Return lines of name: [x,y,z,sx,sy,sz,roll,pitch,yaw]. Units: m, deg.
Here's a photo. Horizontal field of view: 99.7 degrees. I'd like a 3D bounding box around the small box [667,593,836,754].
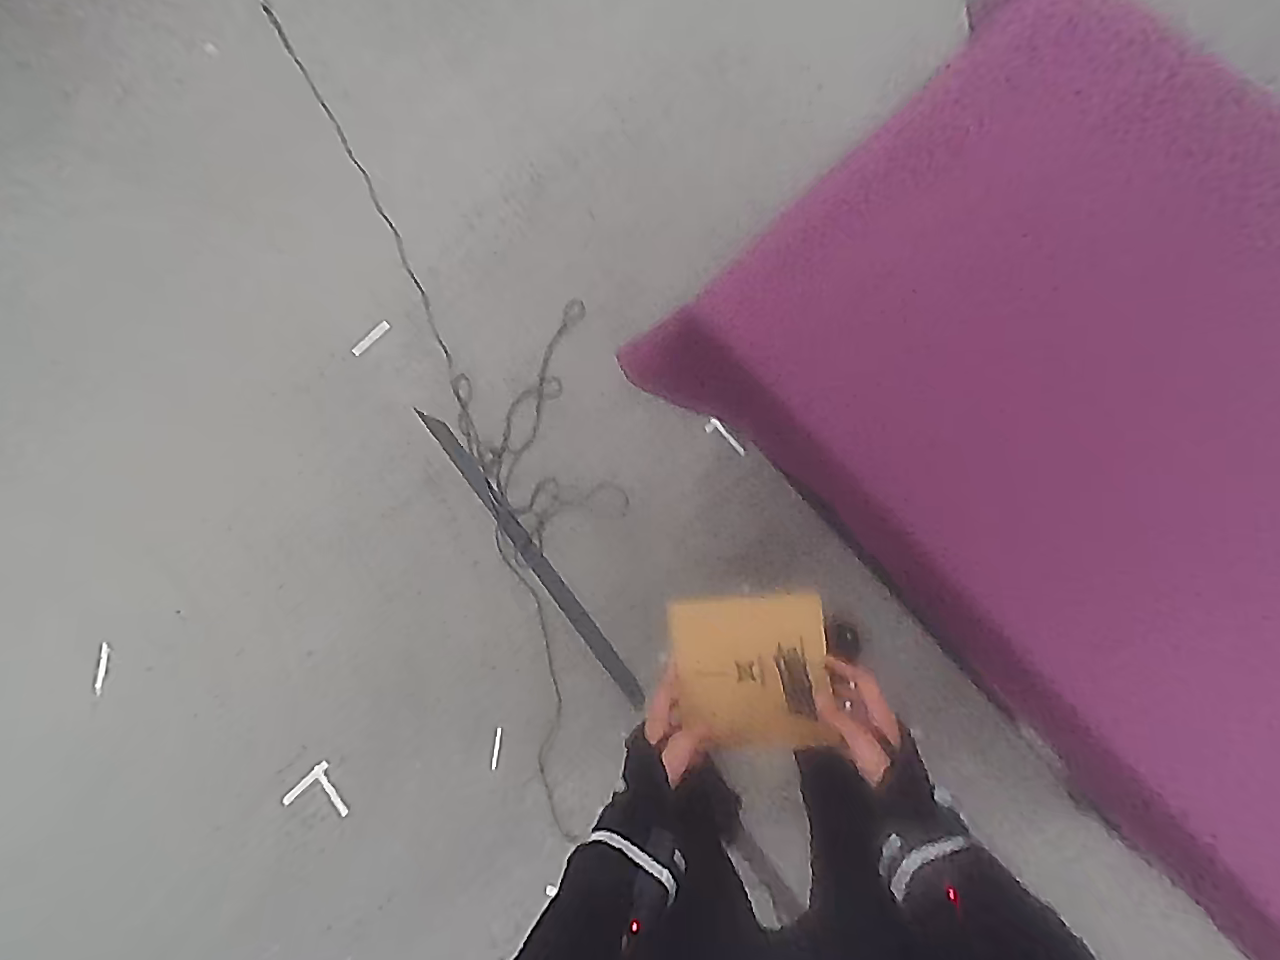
small box: [0.131,0.238,0.705,0.179,0.176,0.168,-5,79,0]
